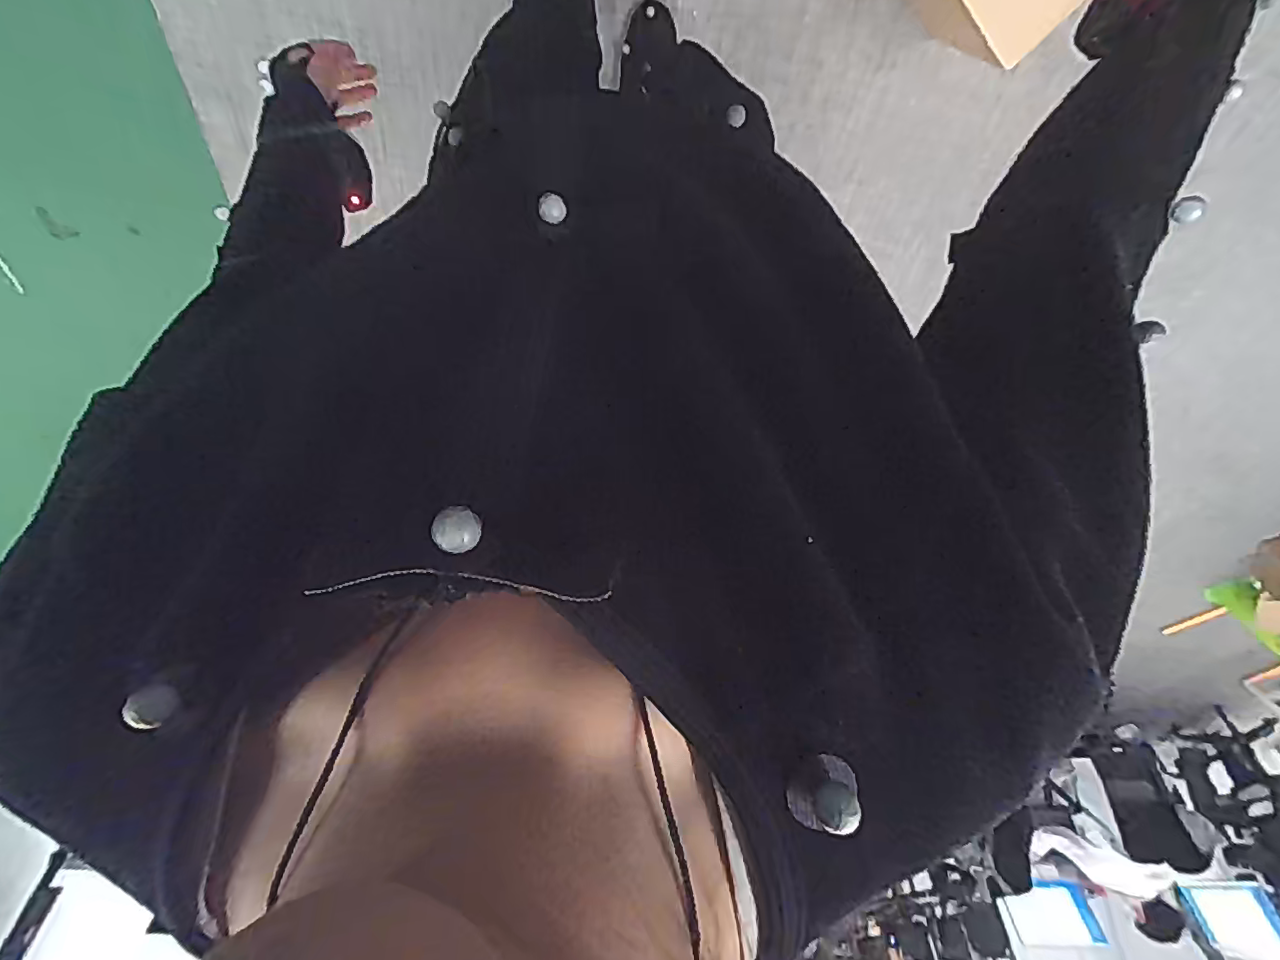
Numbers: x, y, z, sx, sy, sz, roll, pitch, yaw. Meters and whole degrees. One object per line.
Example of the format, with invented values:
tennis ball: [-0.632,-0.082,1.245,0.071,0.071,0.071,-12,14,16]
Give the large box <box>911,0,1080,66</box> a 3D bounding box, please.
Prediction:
large box: [0.523,-0.929,0.788,0.408,0.320,0.320,28,131,-28]

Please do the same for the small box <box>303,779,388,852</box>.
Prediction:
small box: [-0.911,1.052,1.693,0.168,0.176,0.179,3,138,-6]
